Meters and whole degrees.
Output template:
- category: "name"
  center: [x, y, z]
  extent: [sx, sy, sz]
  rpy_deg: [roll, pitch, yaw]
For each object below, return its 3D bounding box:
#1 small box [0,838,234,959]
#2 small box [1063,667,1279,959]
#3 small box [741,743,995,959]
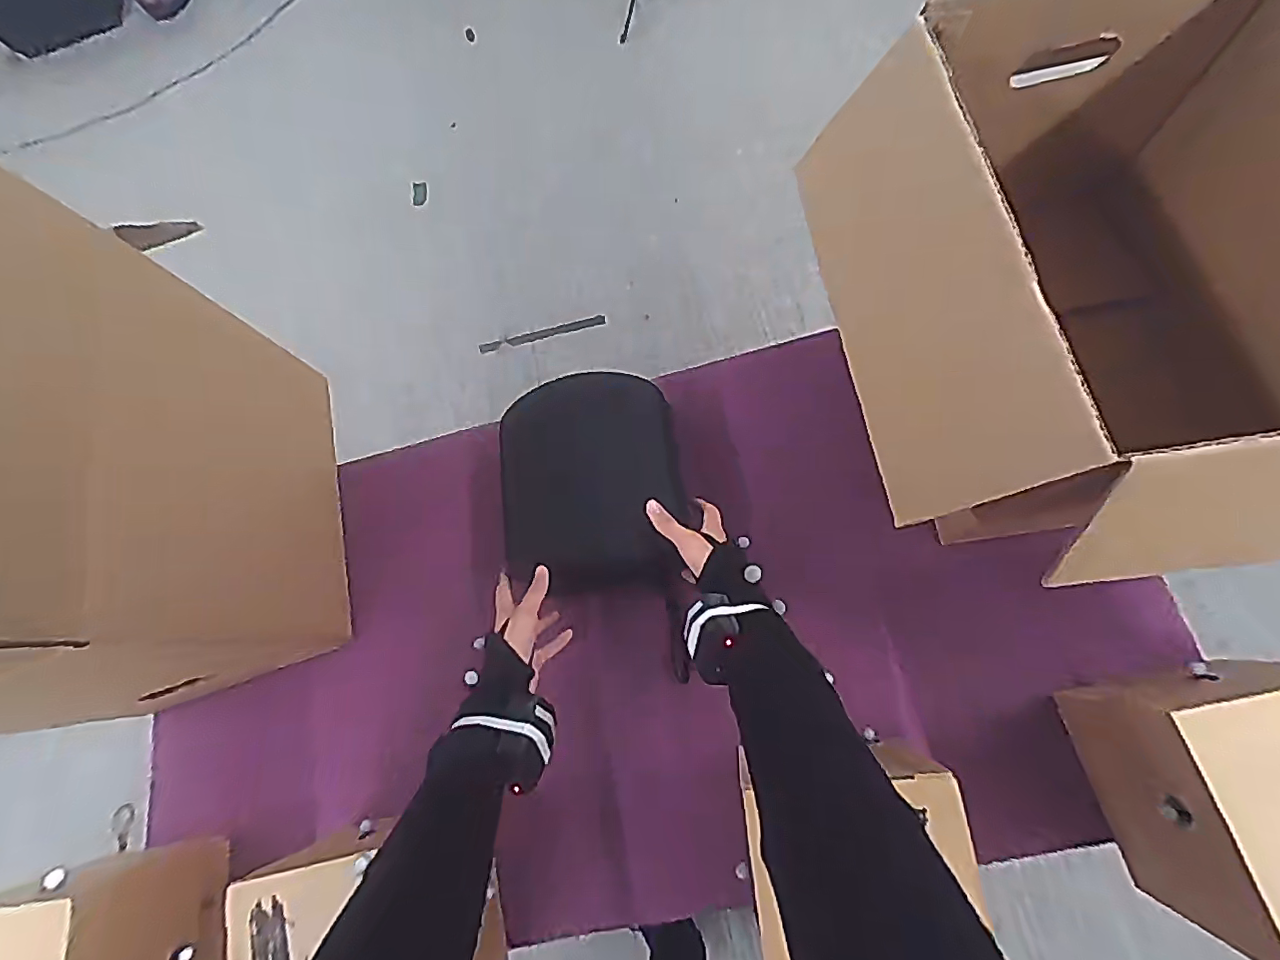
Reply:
- category: "small box"
  center: [-0.580, 0.502, 0.566]
  extent: [0.179, 0.176, 0.168]
  rpy_deg: [-11, 72, 5]
- category: "small box"
  center: [0.502, 0.256, 0.442]
  extent: [0.168, 0.176, 0.179]
  rpy_deg: [-14, 72, 7]
- category: "small box"
  center: [0.182, 0.340, 0.477]
  extent: [0.168, 0.176, 0.179]
  rpy_deg: [-7, 74, 8]
